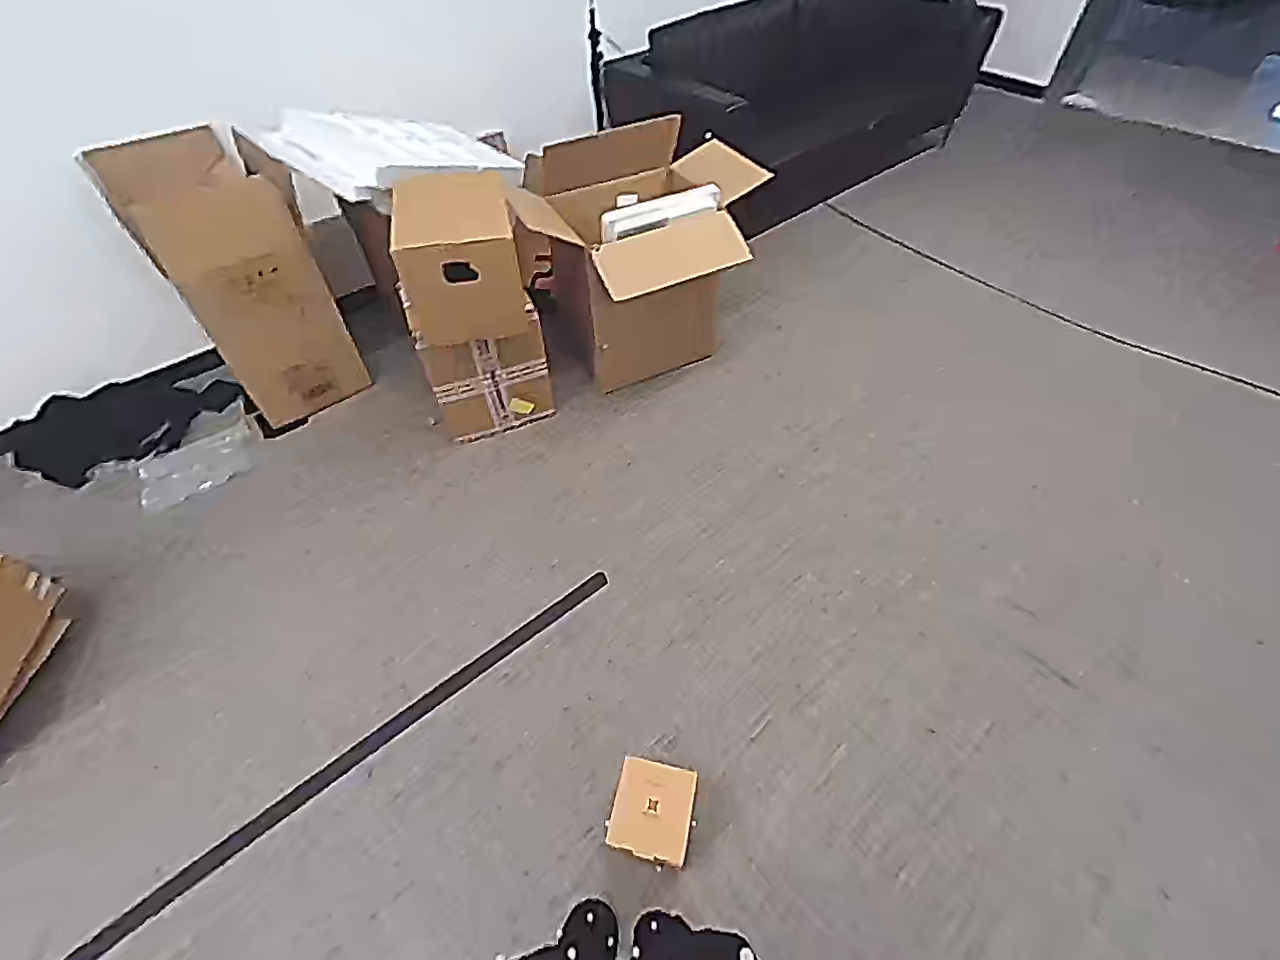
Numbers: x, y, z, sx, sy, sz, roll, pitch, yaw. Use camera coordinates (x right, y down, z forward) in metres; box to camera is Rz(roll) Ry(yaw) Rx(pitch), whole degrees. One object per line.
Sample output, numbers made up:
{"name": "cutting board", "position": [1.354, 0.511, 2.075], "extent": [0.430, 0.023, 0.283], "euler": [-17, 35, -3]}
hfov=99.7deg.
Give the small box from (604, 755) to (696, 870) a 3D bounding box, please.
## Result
{"name": "small box", "position": [0.027, 0.743, 1.203], "extent": [0.168, 0.176, 0.179], "euler": [10, 51, 8]}
